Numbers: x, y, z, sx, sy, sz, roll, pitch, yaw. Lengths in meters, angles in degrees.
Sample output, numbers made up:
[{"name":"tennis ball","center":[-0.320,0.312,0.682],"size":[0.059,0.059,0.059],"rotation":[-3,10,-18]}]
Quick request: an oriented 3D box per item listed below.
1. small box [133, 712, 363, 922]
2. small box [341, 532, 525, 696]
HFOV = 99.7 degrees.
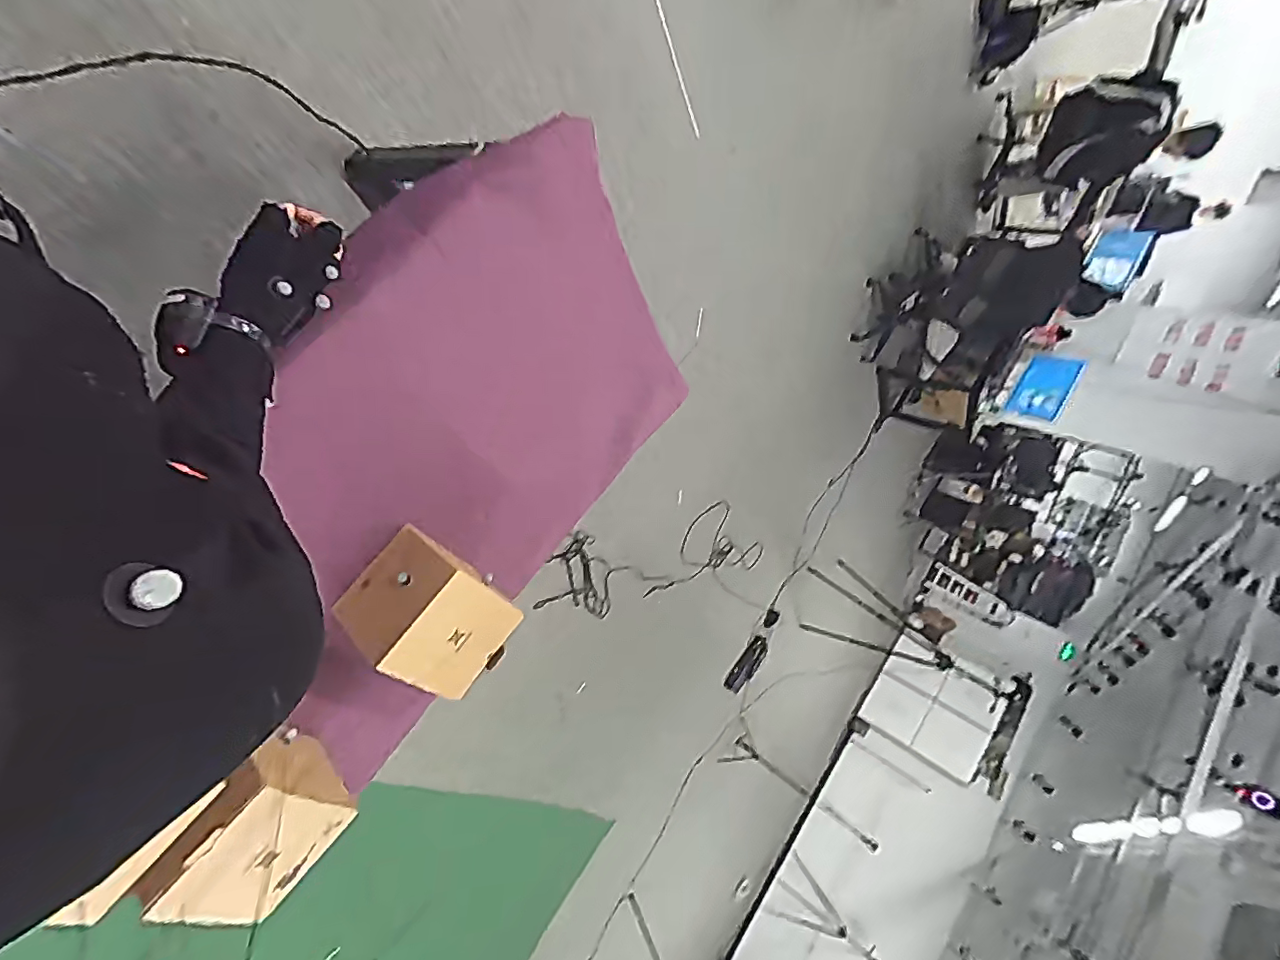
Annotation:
[{"name":"small box","center":[-0.531,0.450,0.738],"size":[0.168,0.176,0.179],"rotation":[-48,140,-21]},{"name":"small box","center":[-0.324,0.203,0.850],"size":[0.168,0.176,0.179],"rotation":[-53,143,-15]}]
